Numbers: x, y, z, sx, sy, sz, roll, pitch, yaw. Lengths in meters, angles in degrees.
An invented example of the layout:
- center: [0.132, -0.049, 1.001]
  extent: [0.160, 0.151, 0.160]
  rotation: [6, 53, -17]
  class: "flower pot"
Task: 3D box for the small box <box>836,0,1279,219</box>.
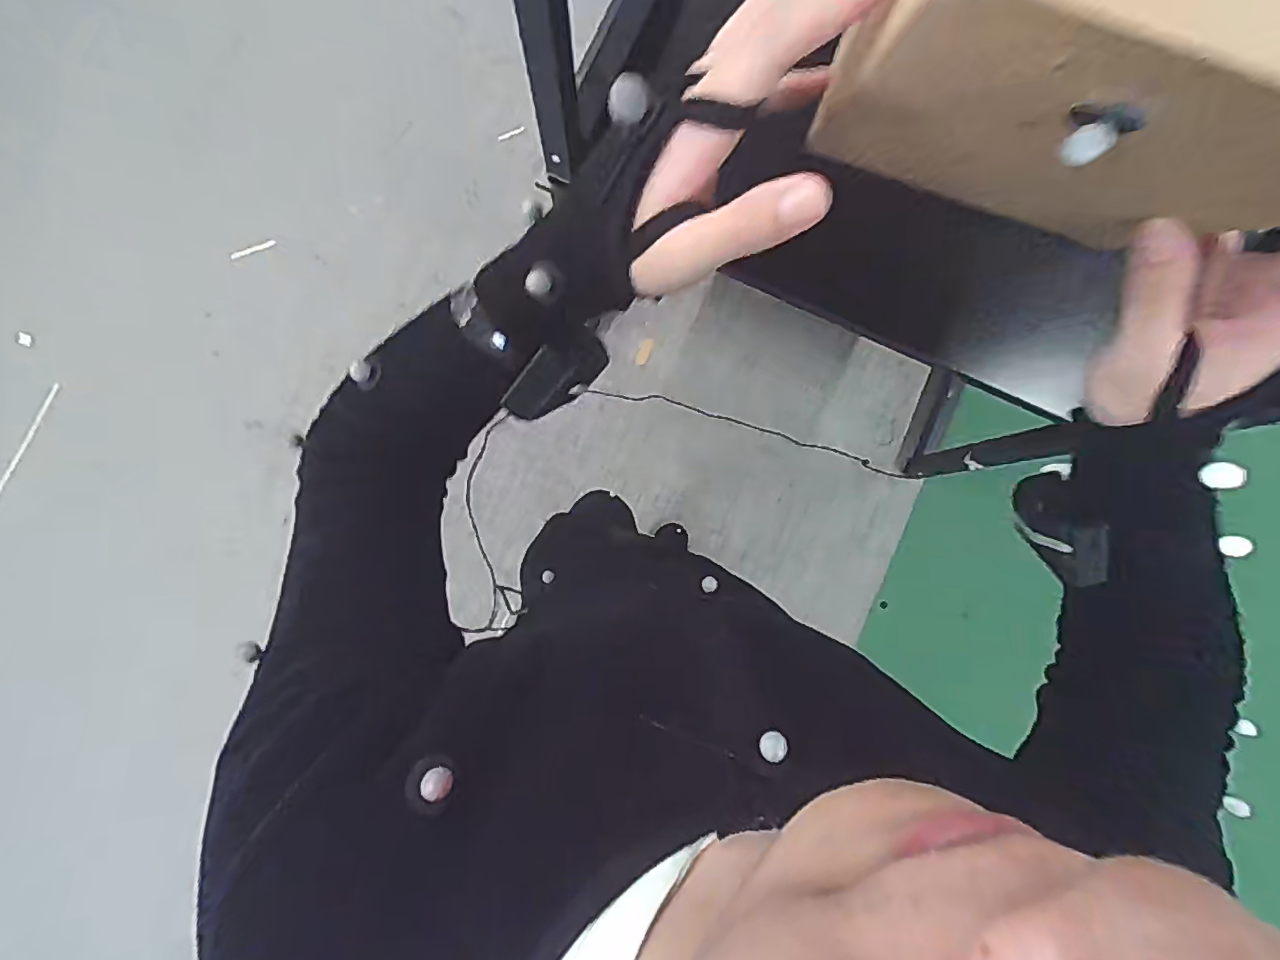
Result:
- center: [0.190, -0.201, 0.177]
  extent: [0.179, 0.176, 0.168]
  rotation: [18, 110, -2]
  class: "small box"
